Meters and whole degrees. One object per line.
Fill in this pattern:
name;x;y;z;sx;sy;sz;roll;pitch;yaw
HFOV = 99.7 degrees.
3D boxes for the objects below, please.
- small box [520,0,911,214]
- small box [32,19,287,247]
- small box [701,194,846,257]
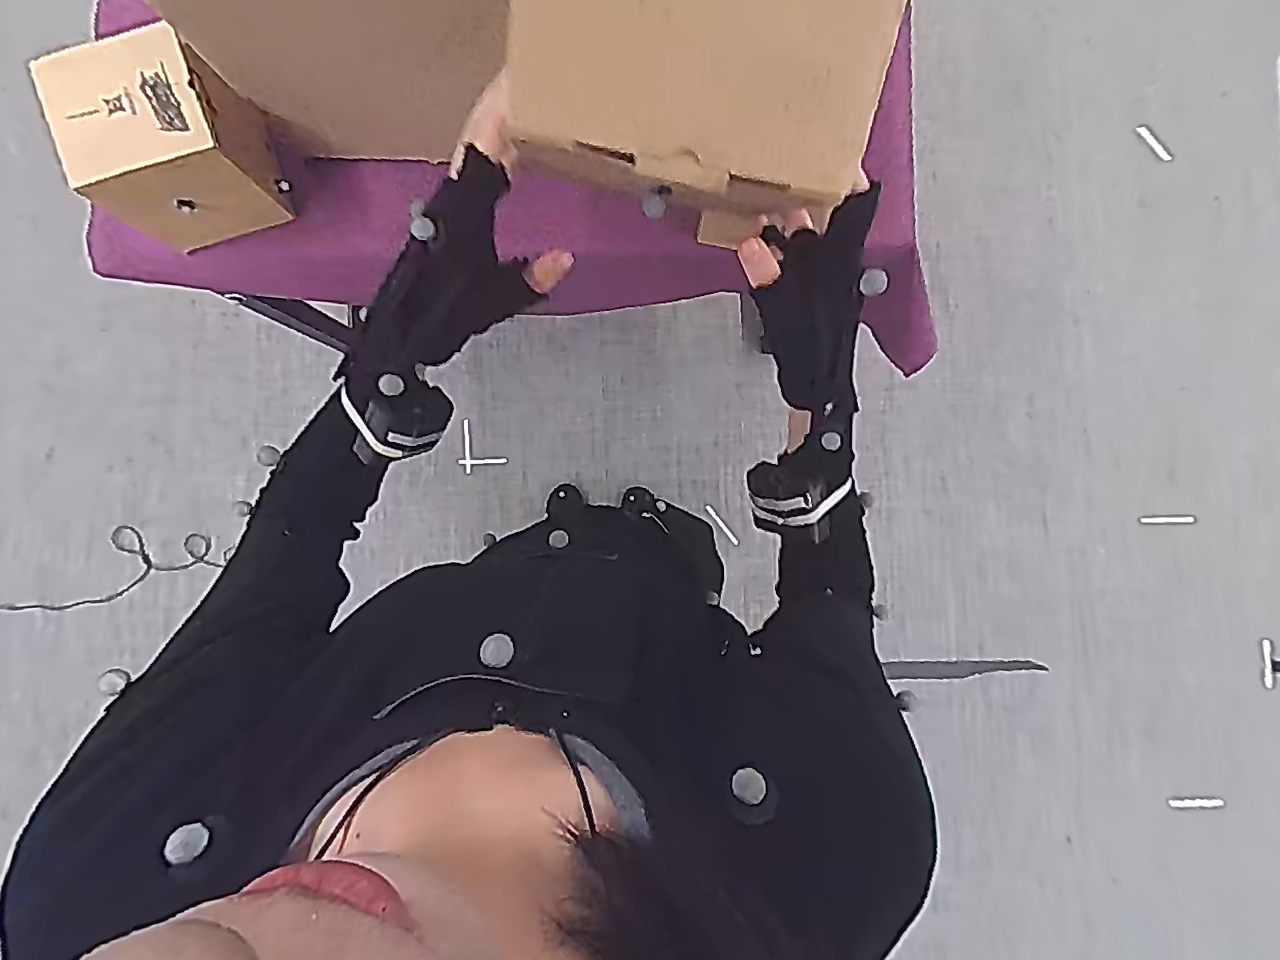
small box;0.034;-0.258;0.299;0.168;0.176;0.179;7;112;-9
small box;-0.608;-0.441;0.715;0.179;0.176;0.168;-19;88;-3
small box;0.182;-0.429;0.731;0.168;0.176;0.179;11;87;-1
